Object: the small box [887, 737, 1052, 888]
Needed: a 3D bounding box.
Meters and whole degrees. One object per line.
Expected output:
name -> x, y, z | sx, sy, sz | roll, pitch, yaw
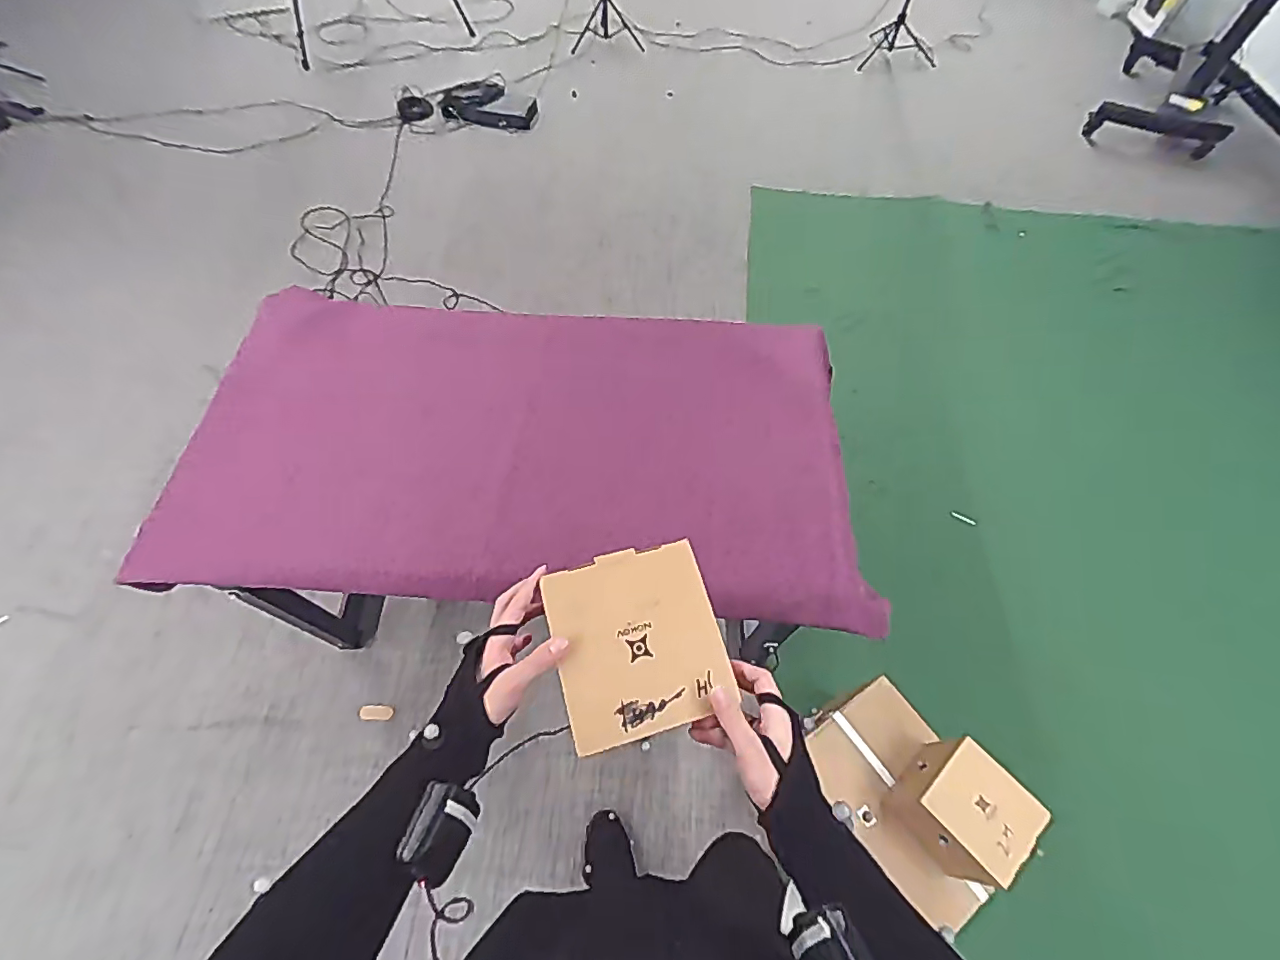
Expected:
small box -> 0.612, 0.626, 1.030 | 0.168, 0.176, 0.179 | -36, 68, -21
